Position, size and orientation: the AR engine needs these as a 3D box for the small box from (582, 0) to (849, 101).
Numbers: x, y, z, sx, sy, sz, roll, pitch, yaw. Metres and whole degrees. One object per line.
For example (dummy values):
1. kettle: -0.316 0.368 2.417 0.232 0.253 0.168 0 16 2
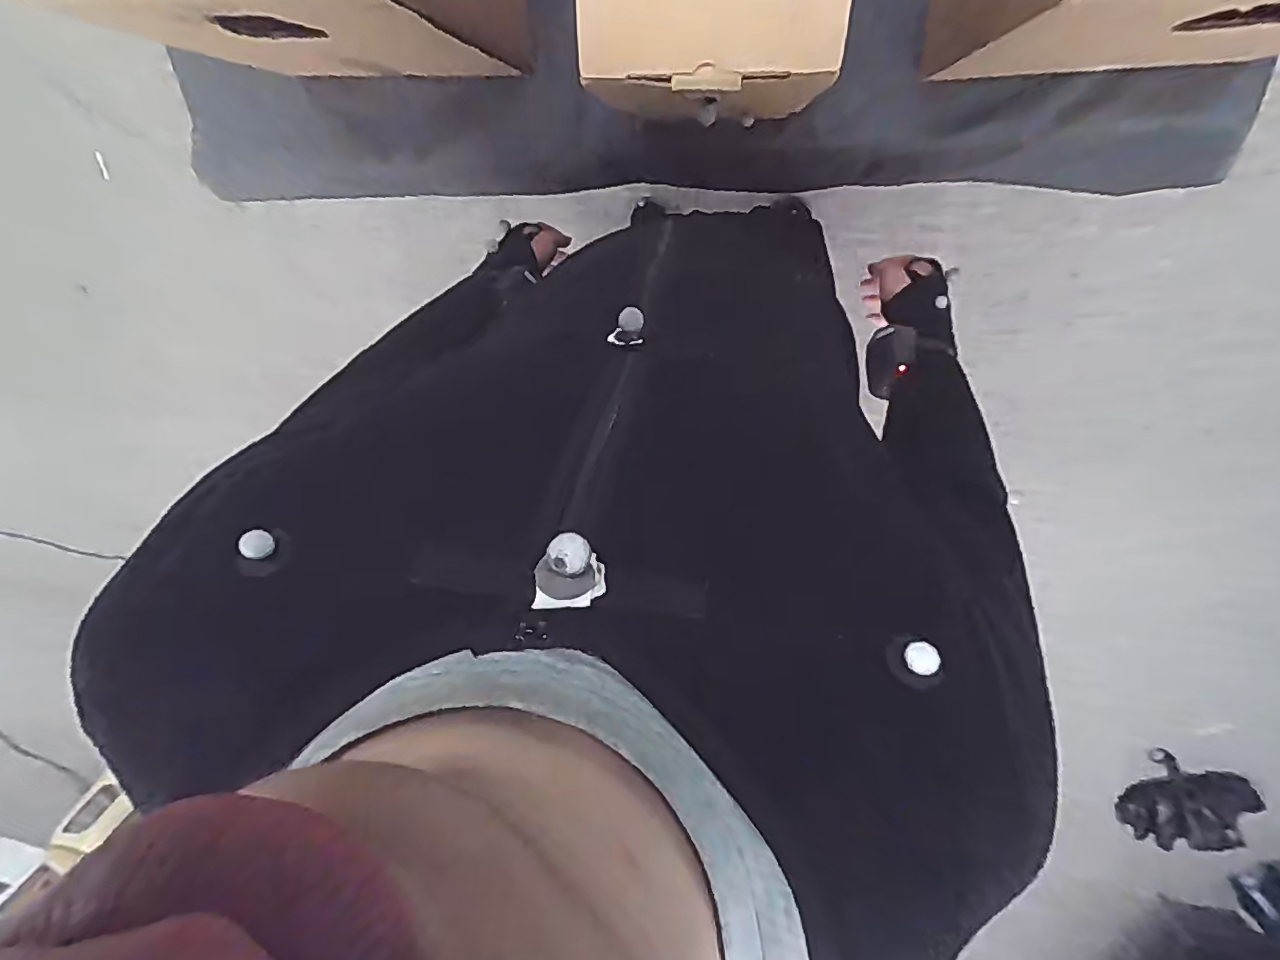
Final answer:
1. small box: 0.055 -0.372 0.373 0.168 0.176 0.179 3 120 6
